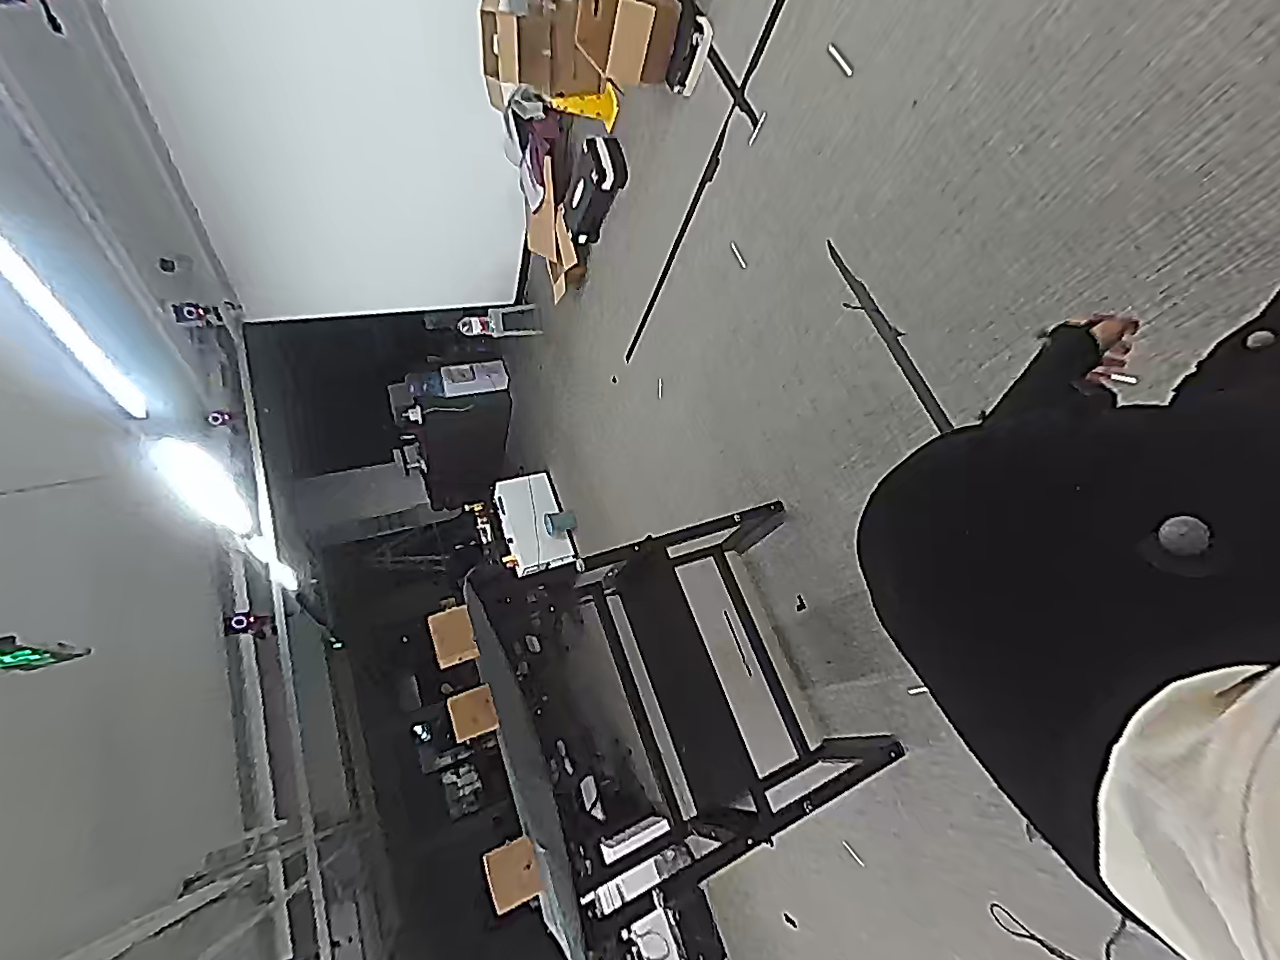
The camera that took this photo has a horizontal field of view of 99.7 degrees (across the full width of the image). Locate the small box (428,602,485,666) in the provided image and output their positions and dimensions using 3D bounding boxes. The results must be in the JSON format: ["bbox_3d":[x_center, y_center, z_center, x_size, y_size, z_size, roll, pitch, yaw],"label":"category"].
[{"bbox_3d":[-0.685,0.577,2.030,0.168,0.176,0.179,66,155,21],"label":"small box"}]

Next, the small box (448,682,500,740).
[{"bbox_3d":[-0.675,0.940,2.200,0.168,0.176,0.179,67,154,19],"label":"small box"}]

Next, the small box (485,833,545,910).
[{"bbox_3d":[-0.465,1.440,2.003,0.179,0.176,0.168,68,154,21],"label":"small box"}]
